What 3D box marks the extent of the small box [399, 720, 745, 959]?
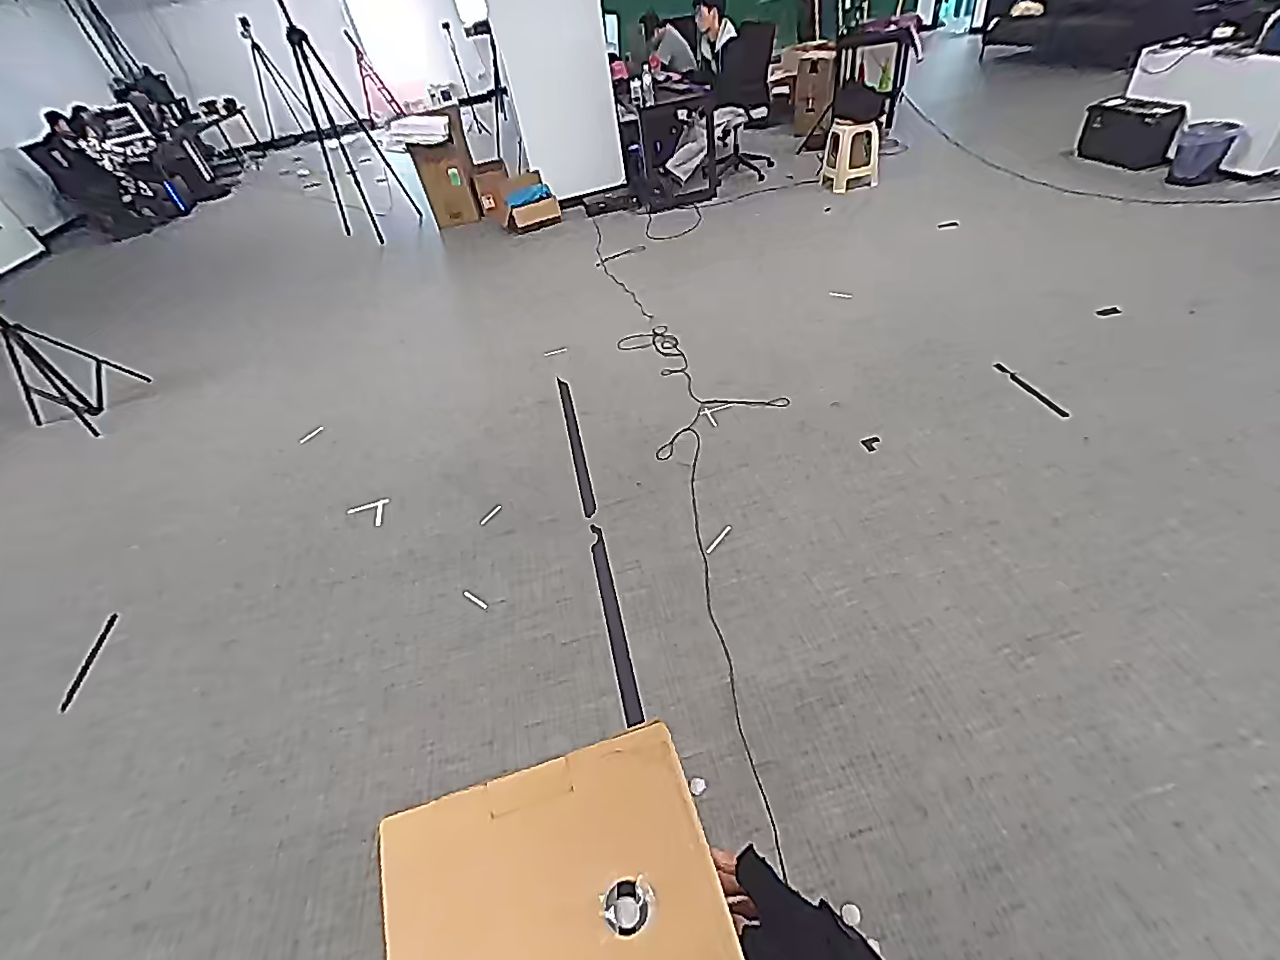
[{"bbox_3d":[-0.031,0.276,0.350,0.168,0.179,0.176,-16,62,-6],"label":"small box"}]
